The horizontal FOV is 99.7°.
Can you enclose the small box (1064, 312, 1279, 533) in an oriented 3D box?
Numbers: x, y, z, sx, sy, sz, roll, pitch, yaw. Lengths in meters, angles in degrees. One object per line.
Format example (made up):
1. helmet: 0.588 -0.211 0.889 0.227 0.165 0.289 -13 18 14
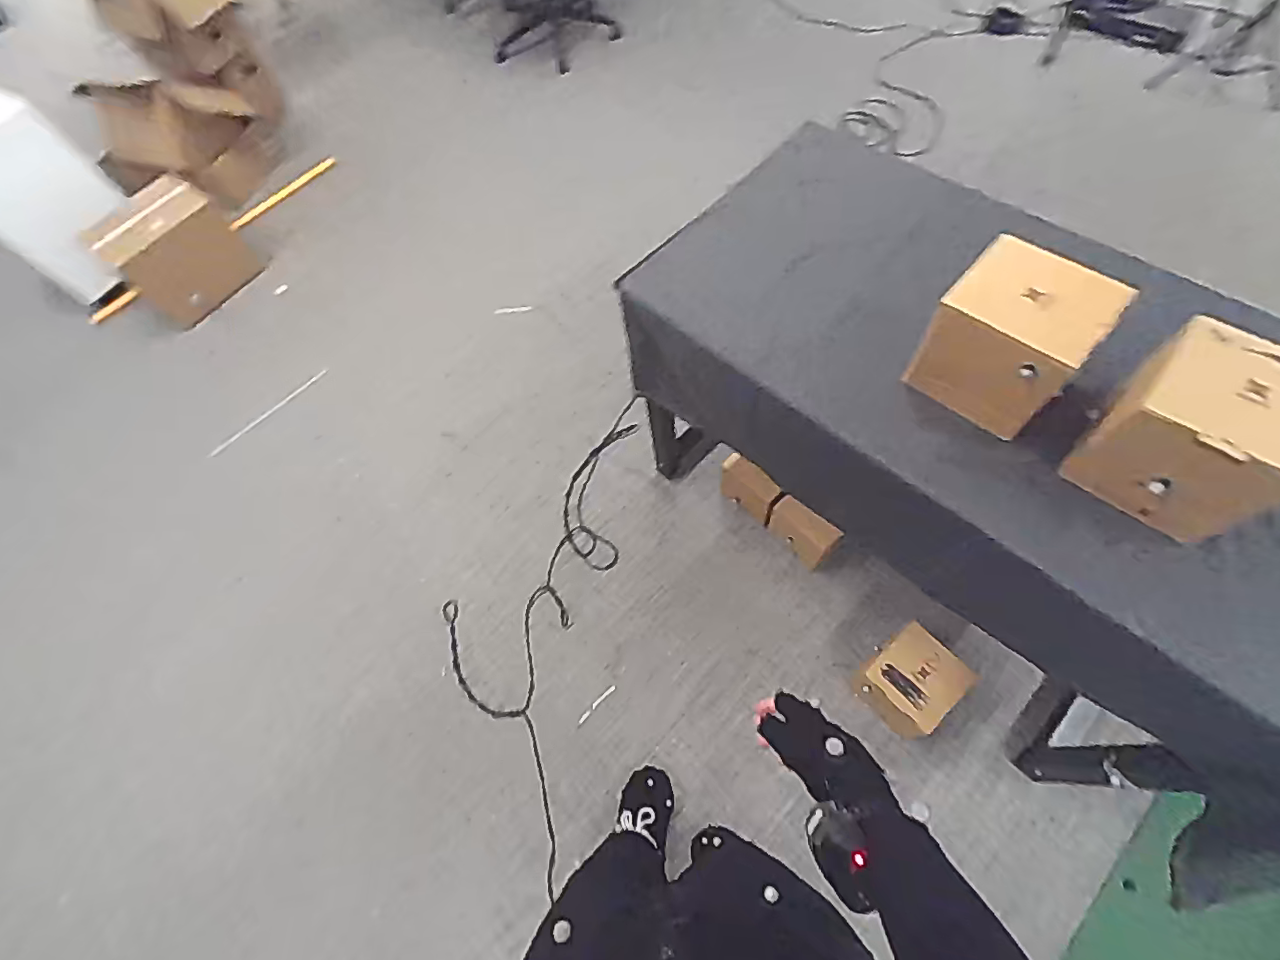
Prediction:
1. small box: 0.684 -0.063 0.673 0.168 0.176 0.179 38 73 21
